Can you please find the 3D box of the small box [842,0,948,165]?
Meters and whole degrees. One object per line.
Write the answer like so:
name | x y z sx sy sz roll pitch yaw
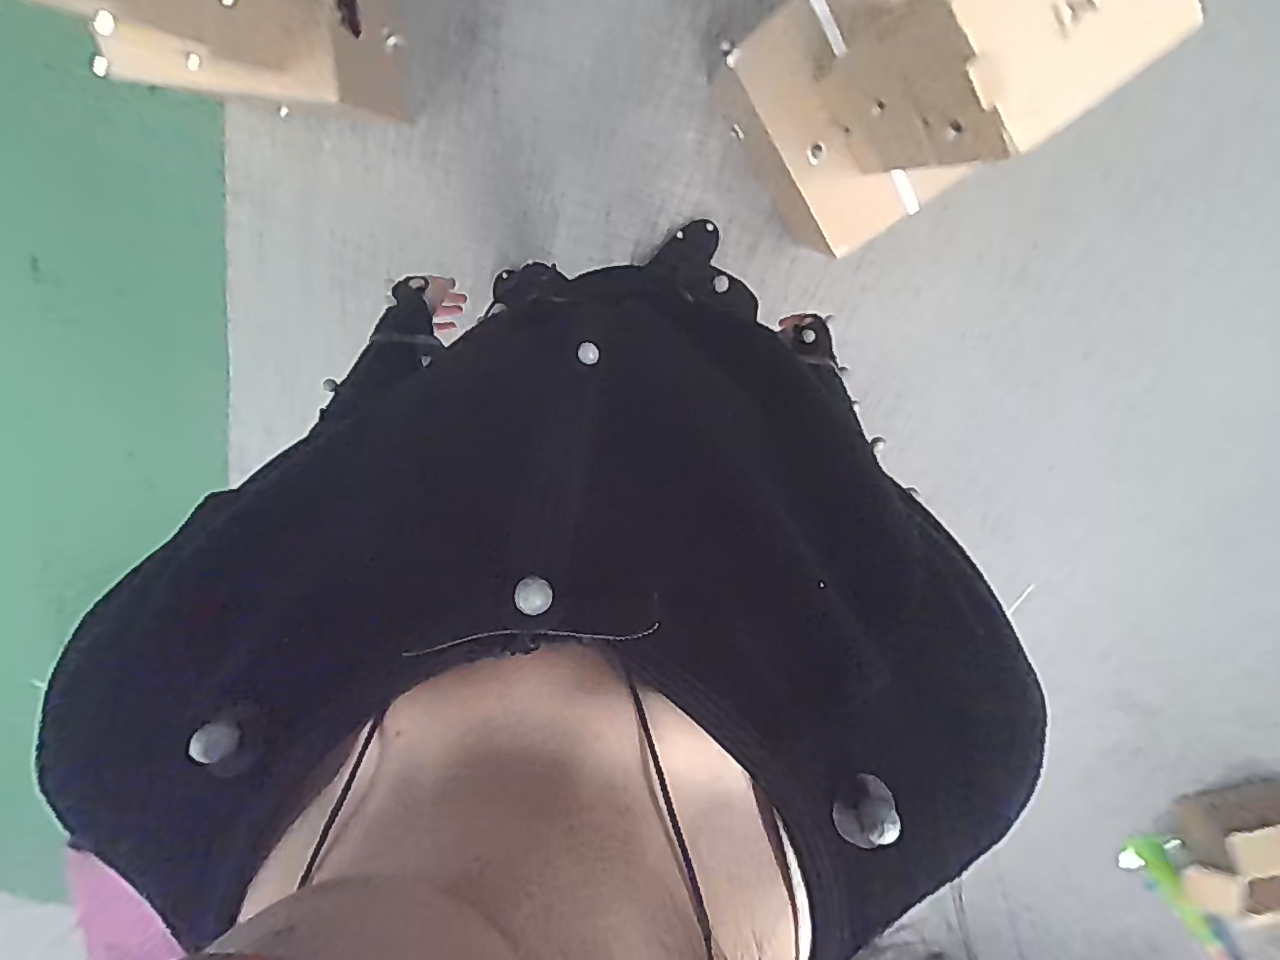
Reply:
small box | 0.392 -0.539 0.697 0.168 0.176 0.179 -33 112 16

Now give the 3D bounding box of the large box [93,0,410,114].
large box | -0.694 -0.888 0.992 0.408 0.320 0.320 6 117 -1

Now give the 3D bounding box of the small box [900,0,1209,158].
small box | 0.397 -0.462 0.553 0.179 0.176 0.168 -35 112 16

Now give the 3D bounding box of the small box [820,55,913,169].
small box | 0.412 -0.618 0.841 0.168 0.176 0.179 -37 112 17

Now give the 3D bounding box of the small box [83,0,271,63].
small box | -0.674 -0.743 0.790 0.168 0.176 0.179 10 118 -5

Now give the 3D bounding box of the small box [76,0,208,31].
small box | -0.671 -0.673 0.644 0.179 0.176 0.168 11 118 -6
